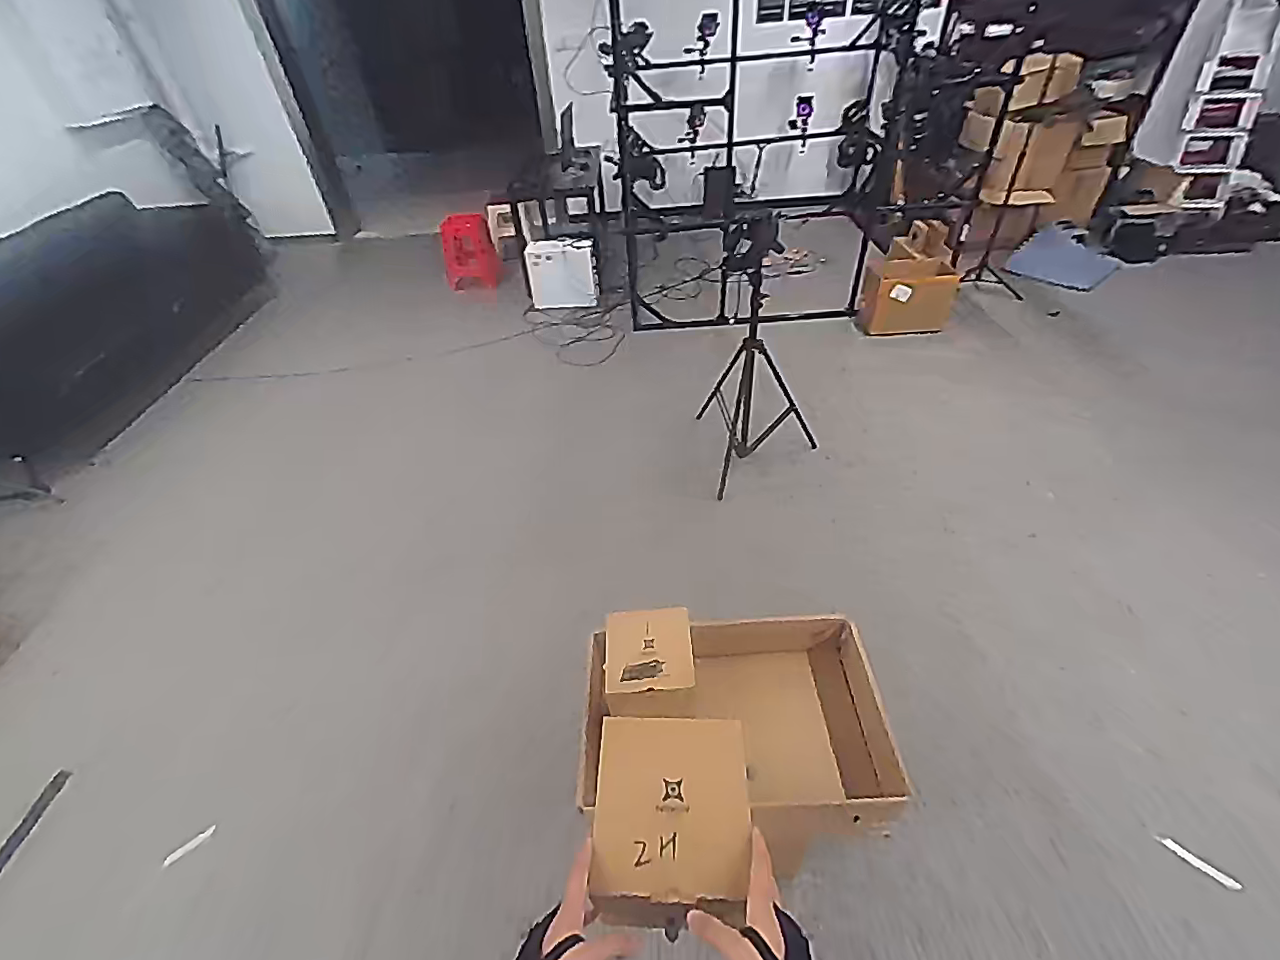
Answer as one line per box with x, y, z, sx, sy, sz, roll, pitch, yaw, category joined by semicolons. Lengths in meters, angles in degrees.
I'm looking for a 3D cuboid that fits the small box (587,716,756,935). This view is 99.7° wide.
0.035;0.400;0.630;0.168;0.176;0.179;0;43;3;small box

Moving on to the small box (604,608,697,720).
0.023;0.378;1.073;0.168;0.176;0.179;-5;41;2;small box
